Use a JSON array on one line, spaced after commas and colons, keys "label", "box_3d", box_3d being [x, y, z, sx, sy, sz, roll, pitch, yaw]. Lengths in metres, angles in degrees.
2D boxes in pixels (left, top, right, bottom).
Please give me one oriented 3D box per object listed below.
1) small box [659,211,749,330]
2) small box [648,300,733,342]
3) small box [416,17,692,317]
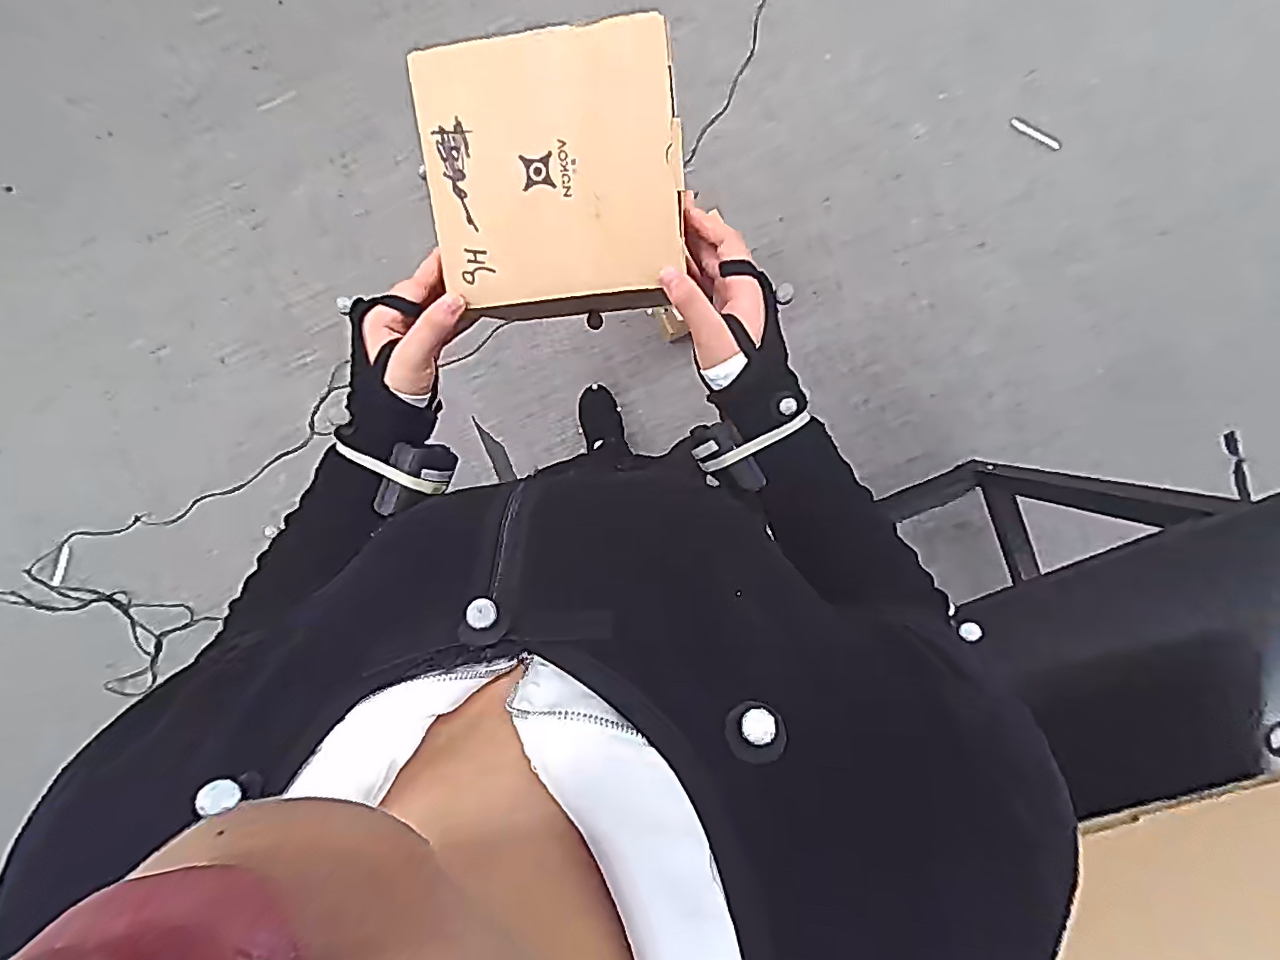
[{"label": "small box", "box_3d": [0.115, -0.451, 1.198, 0.179, 0.176, 0.168, -29, 96, 3]}, {"label": "small box", "box_3d": [0.111, -0.467, 1.360, 0.179, 0.176, 0.168, -26, 95, 4]}, {"label": "small box", "box_3d": [-0.054, -0.233, 0.450, 0.179, 0.176, 0.168, -5, 102, 4]}]
